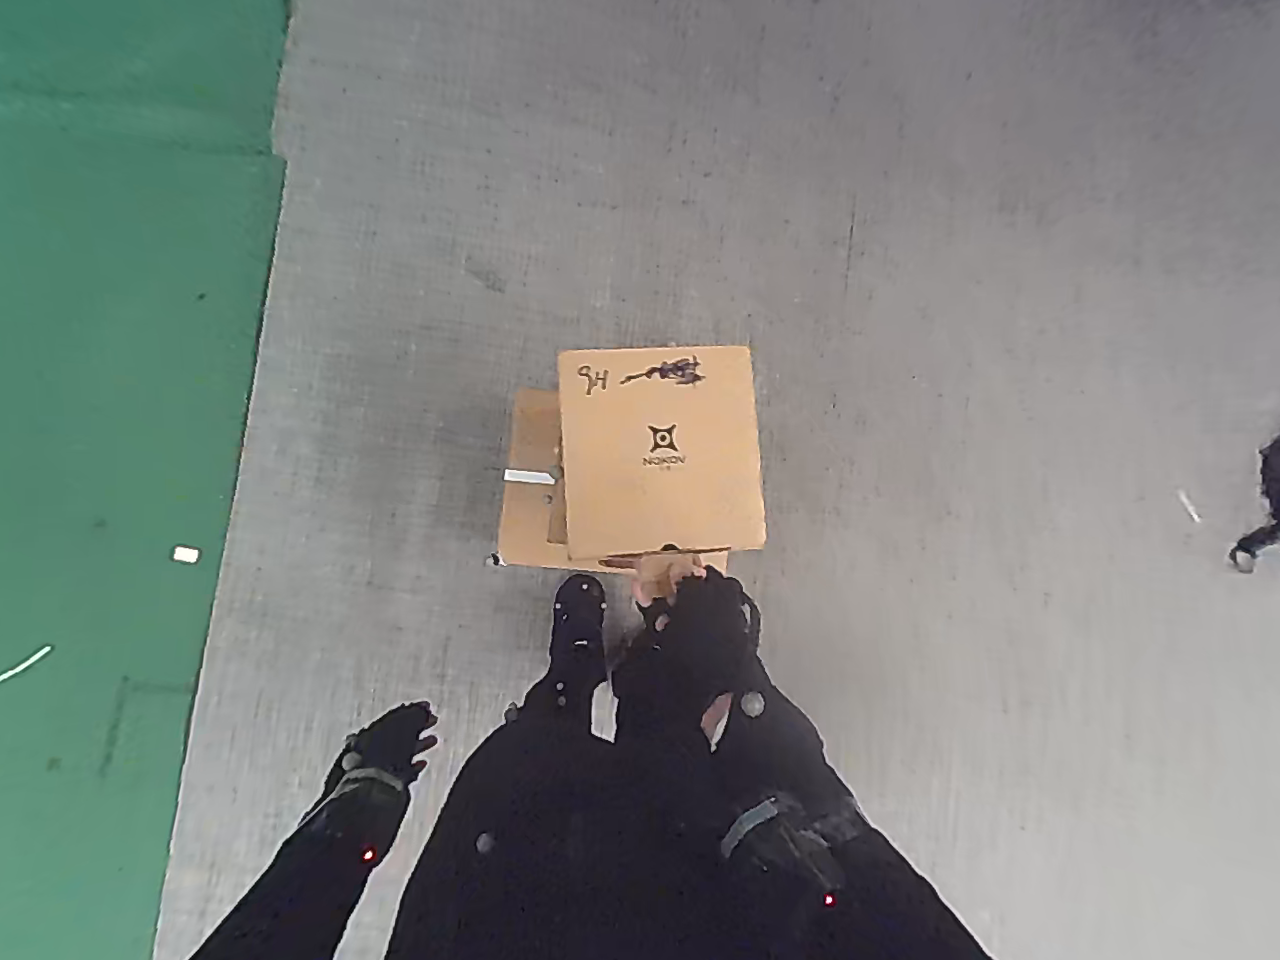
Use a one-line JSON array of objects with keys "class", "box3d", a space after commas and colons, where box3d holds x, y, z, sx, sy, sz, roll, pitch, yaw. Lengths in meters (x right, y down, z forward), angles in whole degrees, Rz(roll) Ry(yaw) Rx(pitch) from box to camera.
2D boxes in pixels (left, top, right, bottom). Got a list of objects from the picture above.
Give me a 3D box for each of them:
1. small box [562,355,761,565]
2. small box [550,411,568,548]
[{"class": "small box", "box3d": [0.011, -0.014, 0.536, 0.168, 0.176, 0.179, -2, 86, -7]}, {"class": "small box", "box3d": [-0.023, -0.004, 0.707, 0.168, 0.176, 0.179, 6, 90, -7]}]
